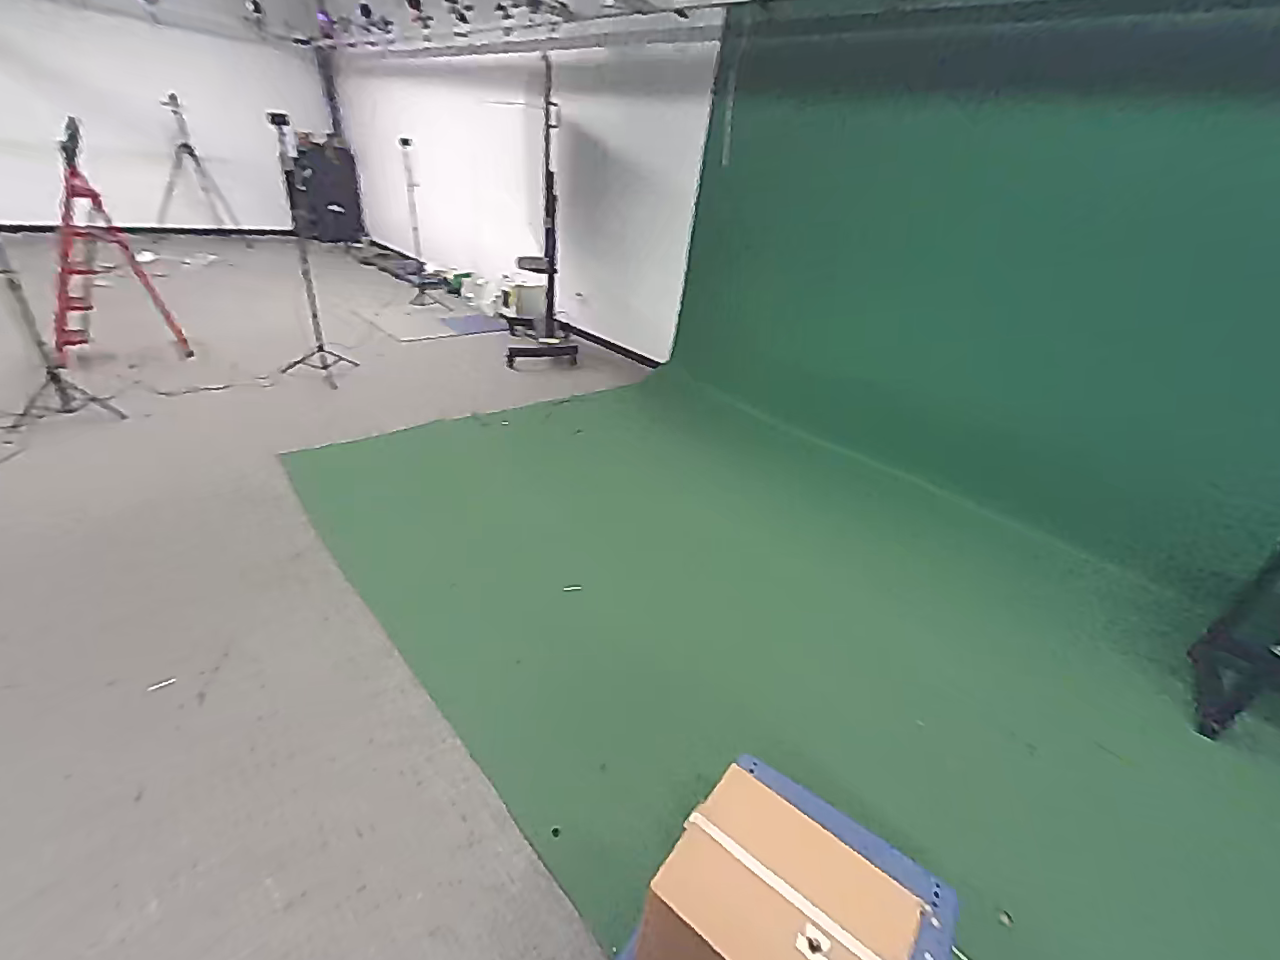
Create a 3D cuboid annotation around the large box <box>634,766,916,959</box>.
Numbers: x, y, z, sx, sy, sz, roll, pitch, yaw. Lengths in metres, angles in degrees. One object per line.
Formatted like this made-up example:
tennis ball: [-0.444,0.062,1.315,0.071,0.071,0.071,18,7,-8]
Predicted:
large box: [0.248,0.877,1.059,0.408,0.320,0.320,26,35,29]
